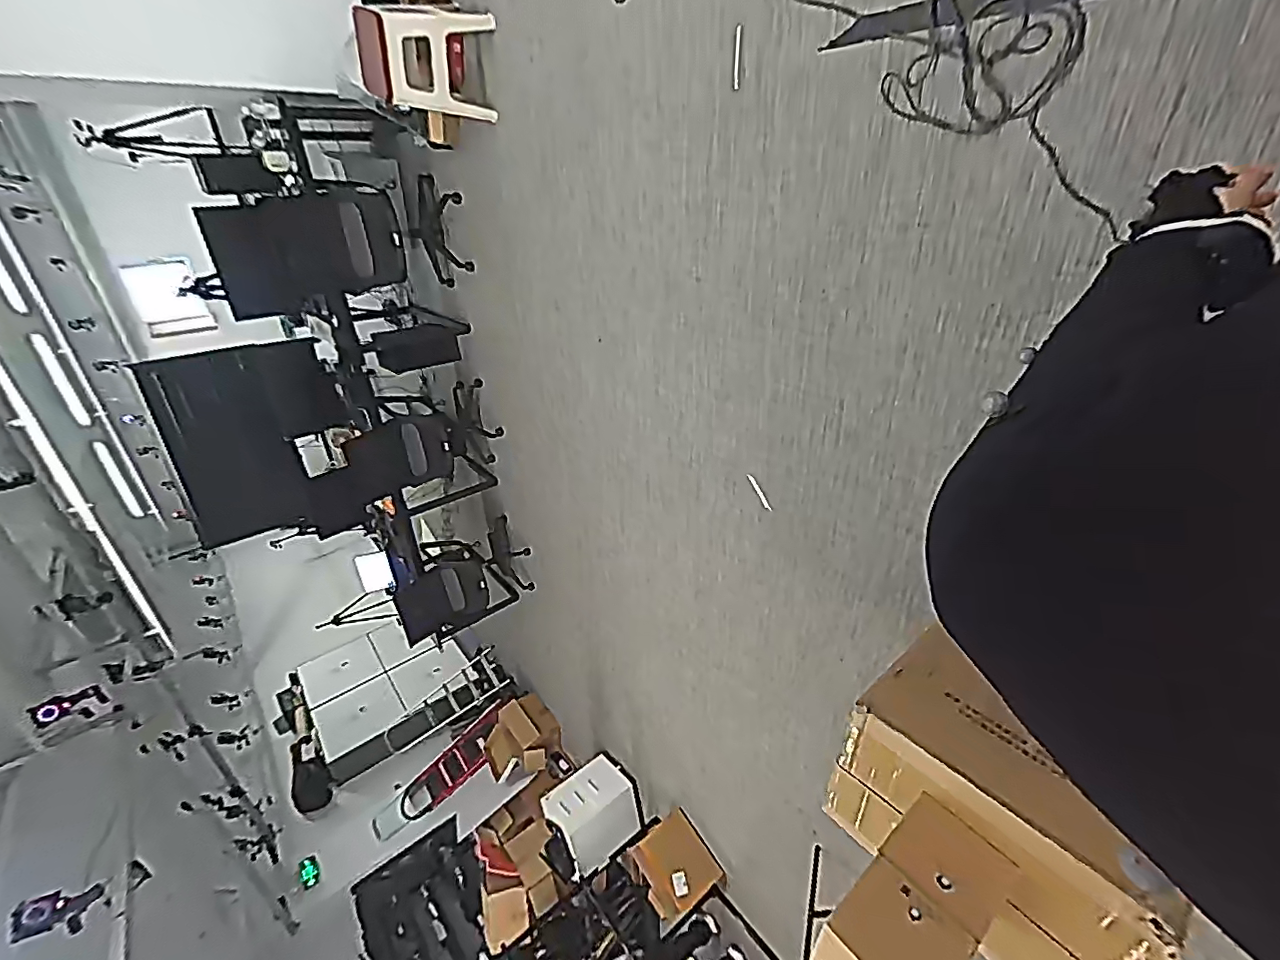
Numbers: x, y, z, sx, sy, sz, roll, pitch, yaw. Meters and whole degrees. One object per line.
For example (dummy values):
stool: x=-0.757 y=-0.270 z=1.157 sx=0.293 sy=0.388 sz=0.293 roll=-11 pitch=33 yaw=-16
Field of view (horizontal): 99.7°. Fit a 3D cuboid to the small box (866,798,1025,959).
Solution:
small box: x=0.545 y=0.724 z=0.970 sx=0.179 sy=0.176 sz=0.168 roll=33 pitch=134 yaw=43
